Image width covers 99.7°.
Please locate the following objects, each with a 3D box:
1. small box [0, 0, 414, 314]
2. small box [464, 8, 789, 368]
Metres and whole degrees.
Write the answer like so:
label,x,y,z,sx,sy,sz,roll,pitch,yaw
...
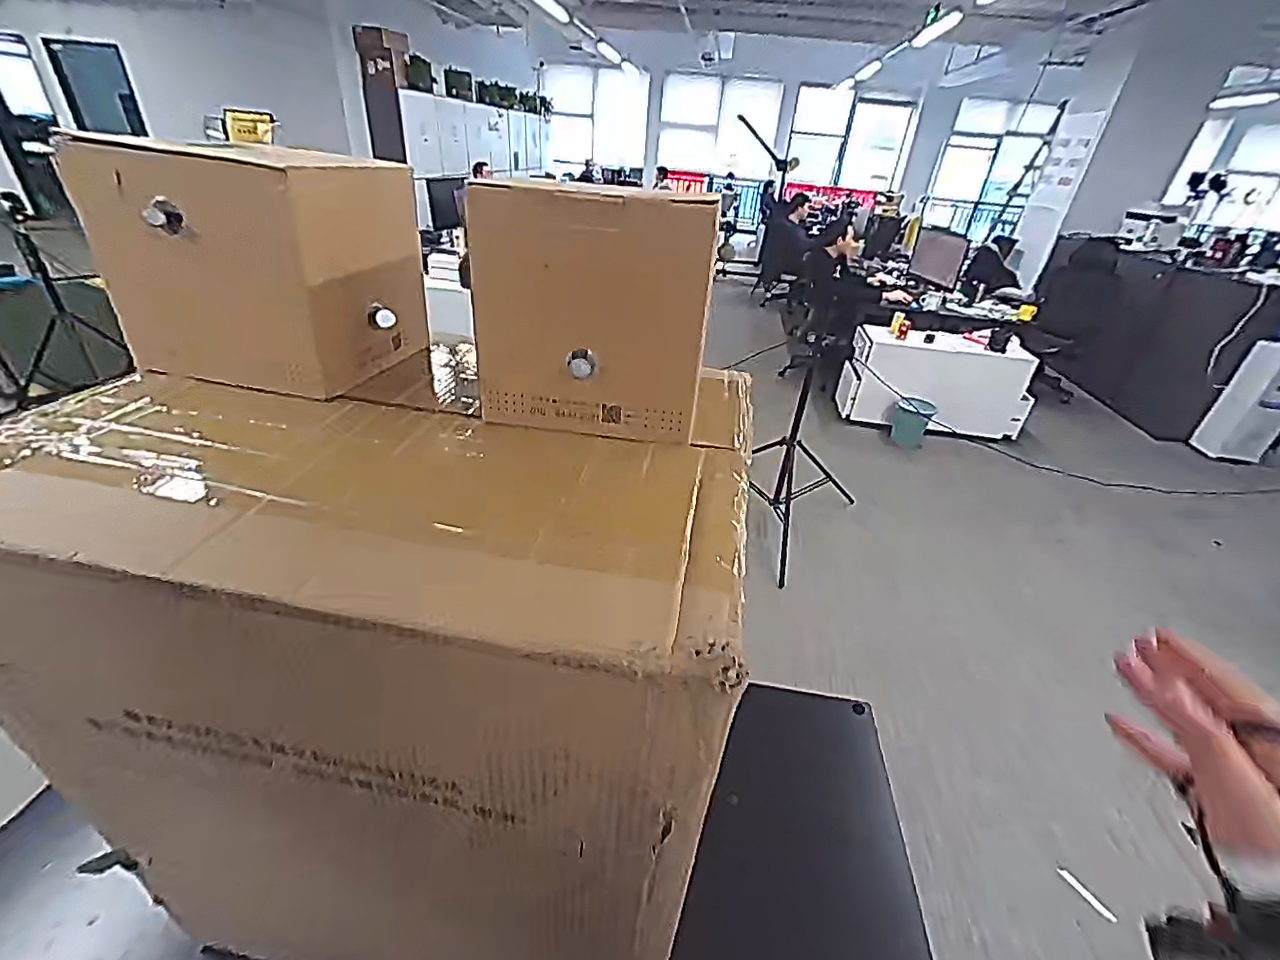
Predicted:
label,x,y,z,sx,sy,sz,roll,pitch,yaw
small box,-0.288,-0.226,0.387,0.179,0.176,0.168,10,31,5
small box,-0.004,-0.190,0.372,0.168,0.176,0.179,7,30,5
